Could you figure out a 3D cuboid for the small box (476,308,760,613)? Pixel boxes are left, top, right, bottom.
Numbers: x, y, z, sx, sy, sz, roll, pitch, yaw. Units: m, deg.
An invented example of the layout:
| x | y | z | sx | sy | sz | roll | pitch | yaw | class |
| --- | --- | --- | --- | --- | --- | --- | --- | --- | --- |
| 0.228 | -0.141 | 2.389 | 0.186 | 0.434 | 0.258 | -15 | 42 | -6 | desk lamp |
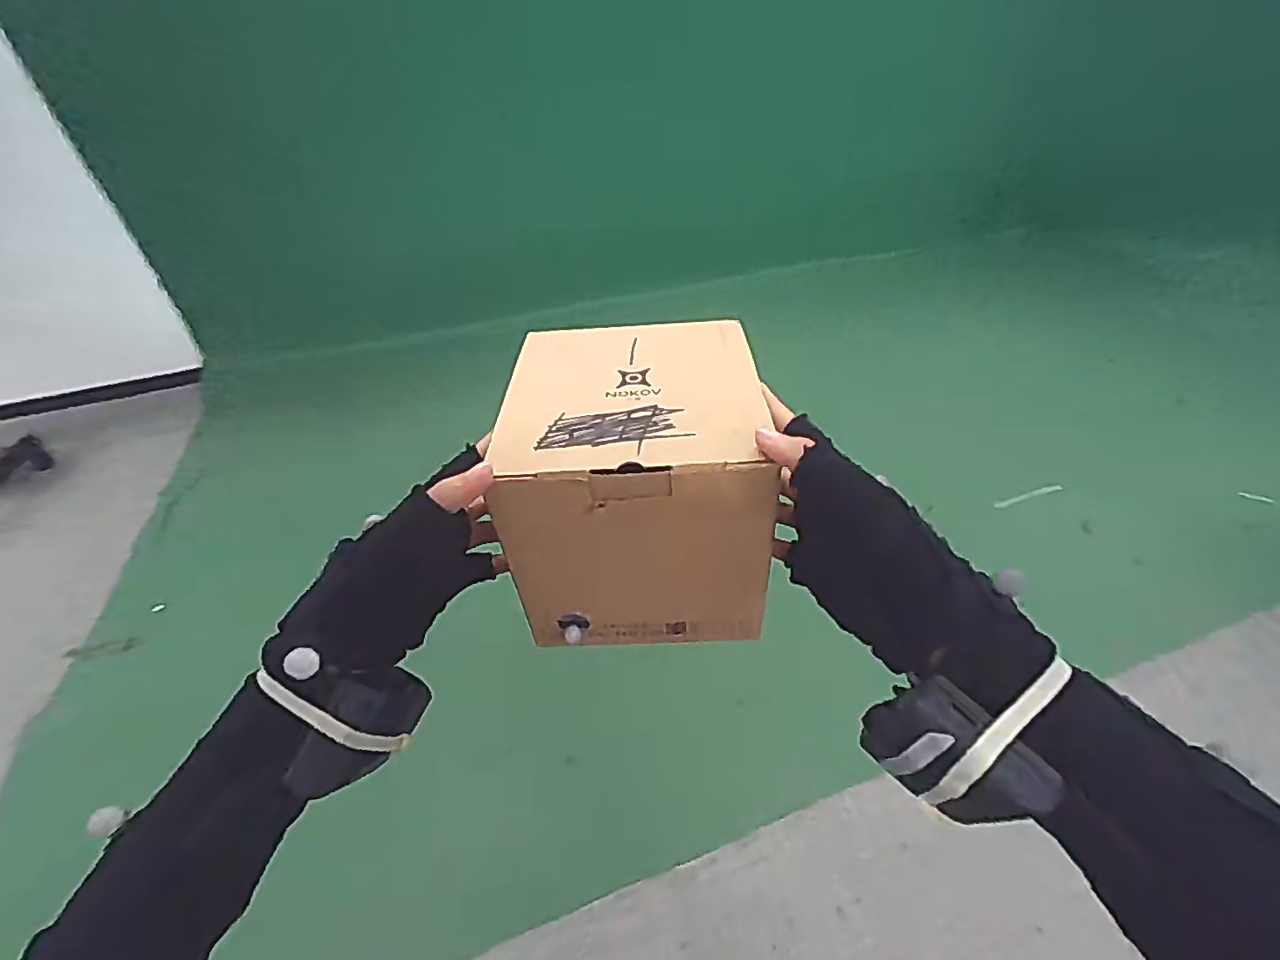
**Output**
| x | y | z | sx | sy | sz | roll | pitch | yaw | class |
| --- | --- | --- | --- | --- | --- | --- | --- | --- | --- |
| -0.005 | -0.013 | 0.415 | 0.168 | 0.176 | 0.179 | -2 | 40 | 3 | small box |
